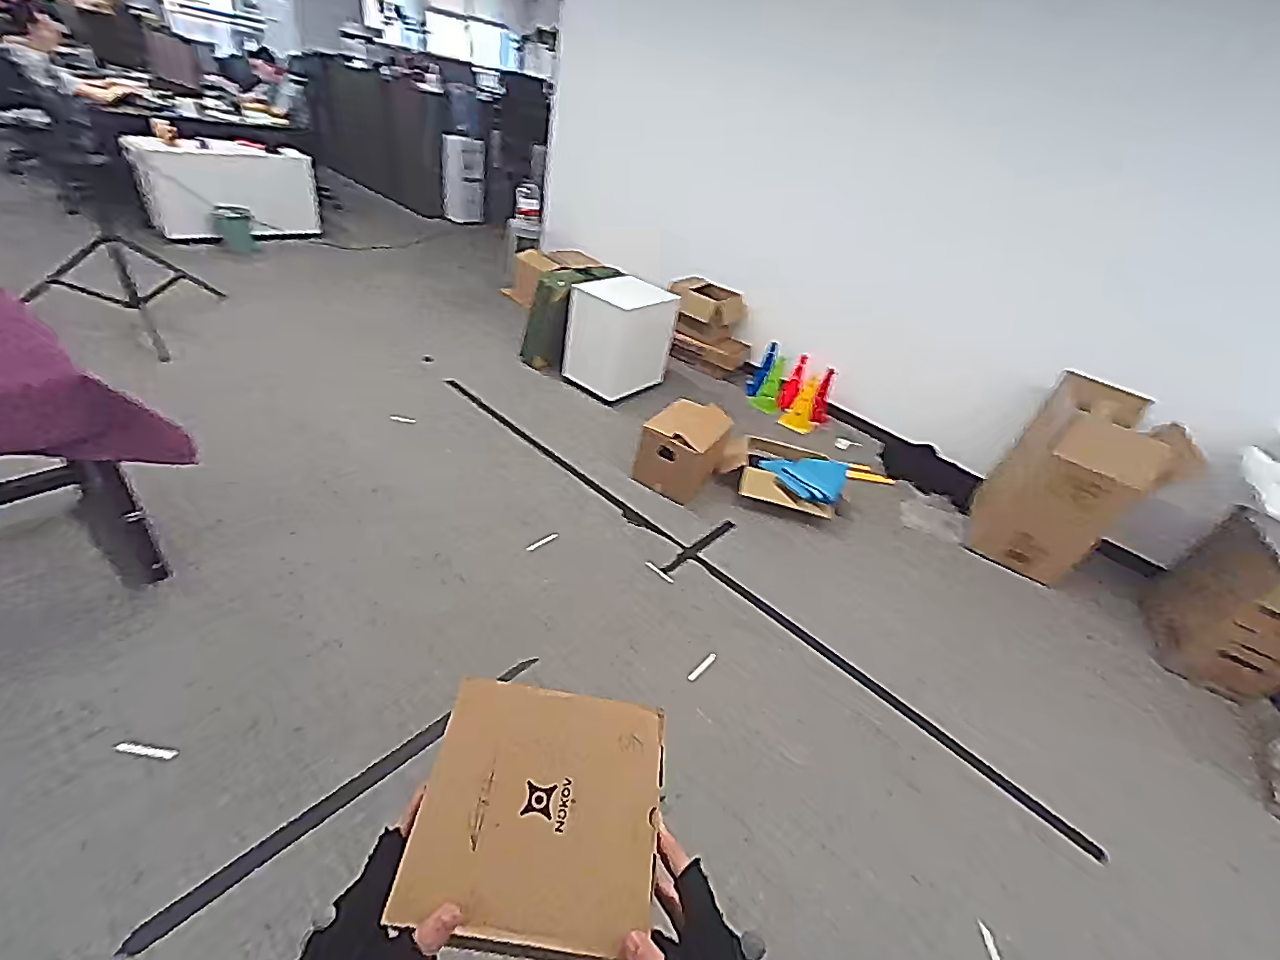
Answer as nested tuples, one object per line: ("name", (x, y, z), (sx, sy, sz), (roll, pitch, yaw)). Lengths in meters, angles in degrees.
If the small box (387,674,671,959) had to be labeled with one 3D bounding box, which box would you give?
("small box", (-0.077, 0.286, 0.452), (0.179, 0.176, 0.168), (8, 45, -2))
